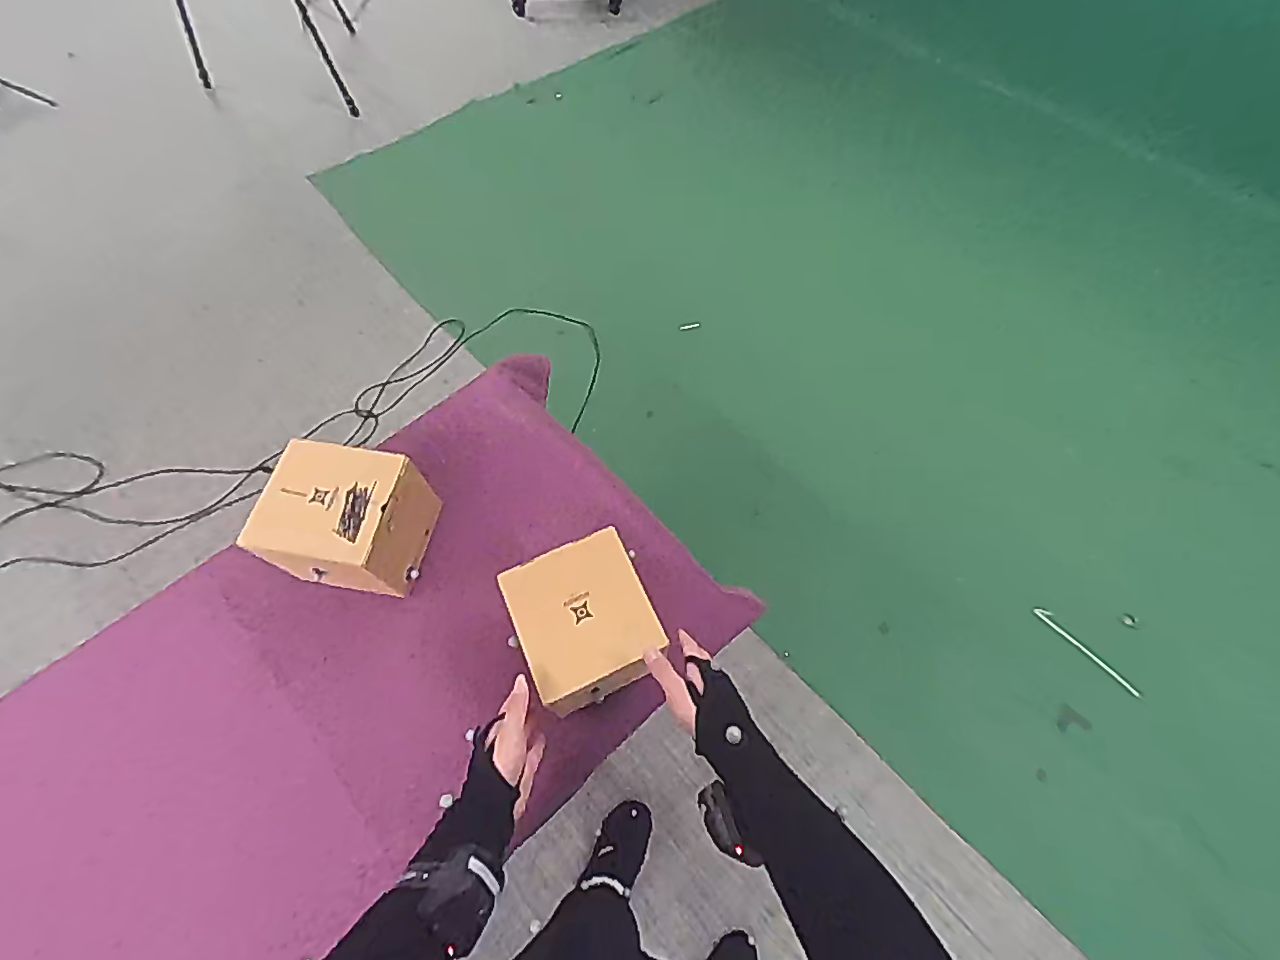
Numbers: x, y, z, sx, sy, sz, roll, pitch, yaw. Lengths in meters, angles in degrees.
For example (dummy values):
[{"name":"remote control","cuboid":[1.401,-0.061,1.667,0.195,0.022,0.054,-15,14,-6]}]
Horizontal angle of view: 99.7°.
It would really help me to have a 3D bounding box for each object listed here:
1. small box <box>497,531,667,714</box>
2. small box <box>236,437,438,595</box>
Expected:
[{"name":"small box","cuboid":[-0.073,0.201,0.734,0.168,0.176,0.179,-22,63,-11]},{"name":"small box","cuboid":[-0.424,0.061,0.797,0.179,0.176,0.168,10,63,3]}]
